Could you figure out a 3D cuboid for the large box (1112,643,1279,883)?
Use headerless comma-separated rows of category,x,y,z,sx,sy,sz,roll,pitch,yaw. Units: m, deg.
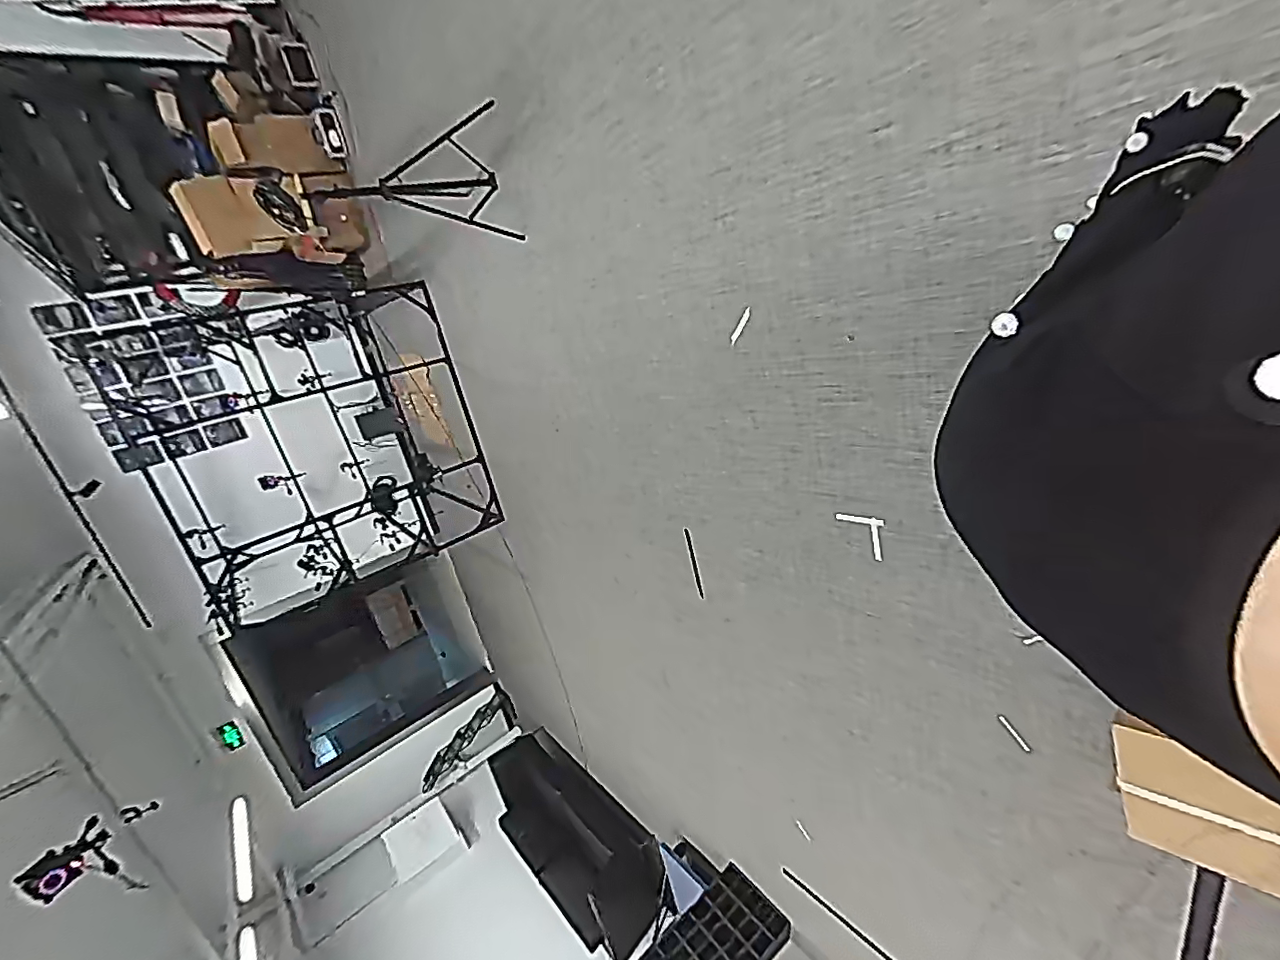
large box,1.286,0.583,1.113,0.408,0.320,0.320,-1,111,54
